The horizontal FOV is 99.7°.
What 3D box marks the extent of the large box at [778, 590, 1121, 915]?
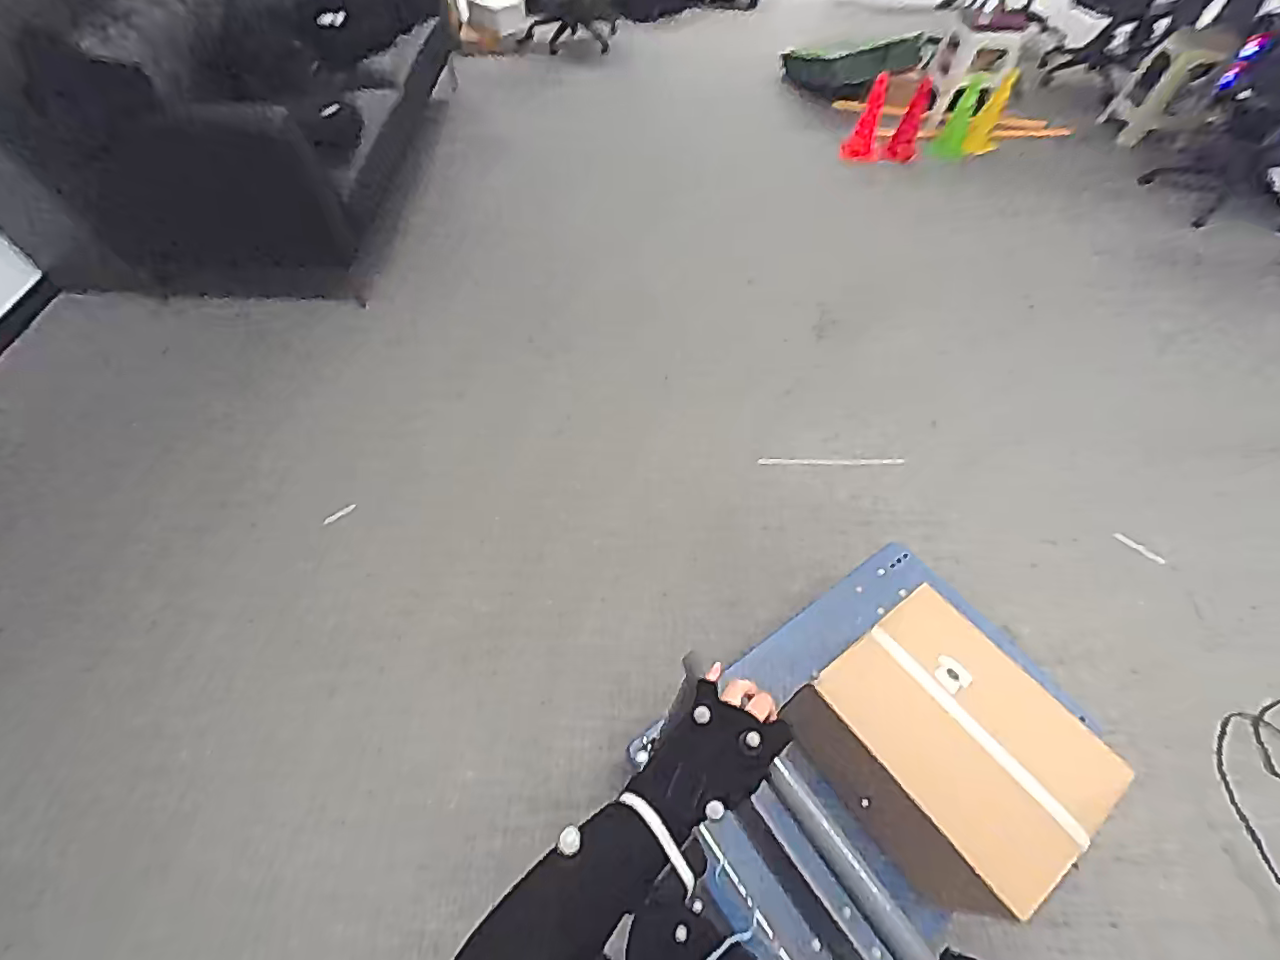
[{"bbox_3d":[0.530,0.496,1.018,0.320,0.320,0.408,-31,59,-19],"label":"large box"}]
